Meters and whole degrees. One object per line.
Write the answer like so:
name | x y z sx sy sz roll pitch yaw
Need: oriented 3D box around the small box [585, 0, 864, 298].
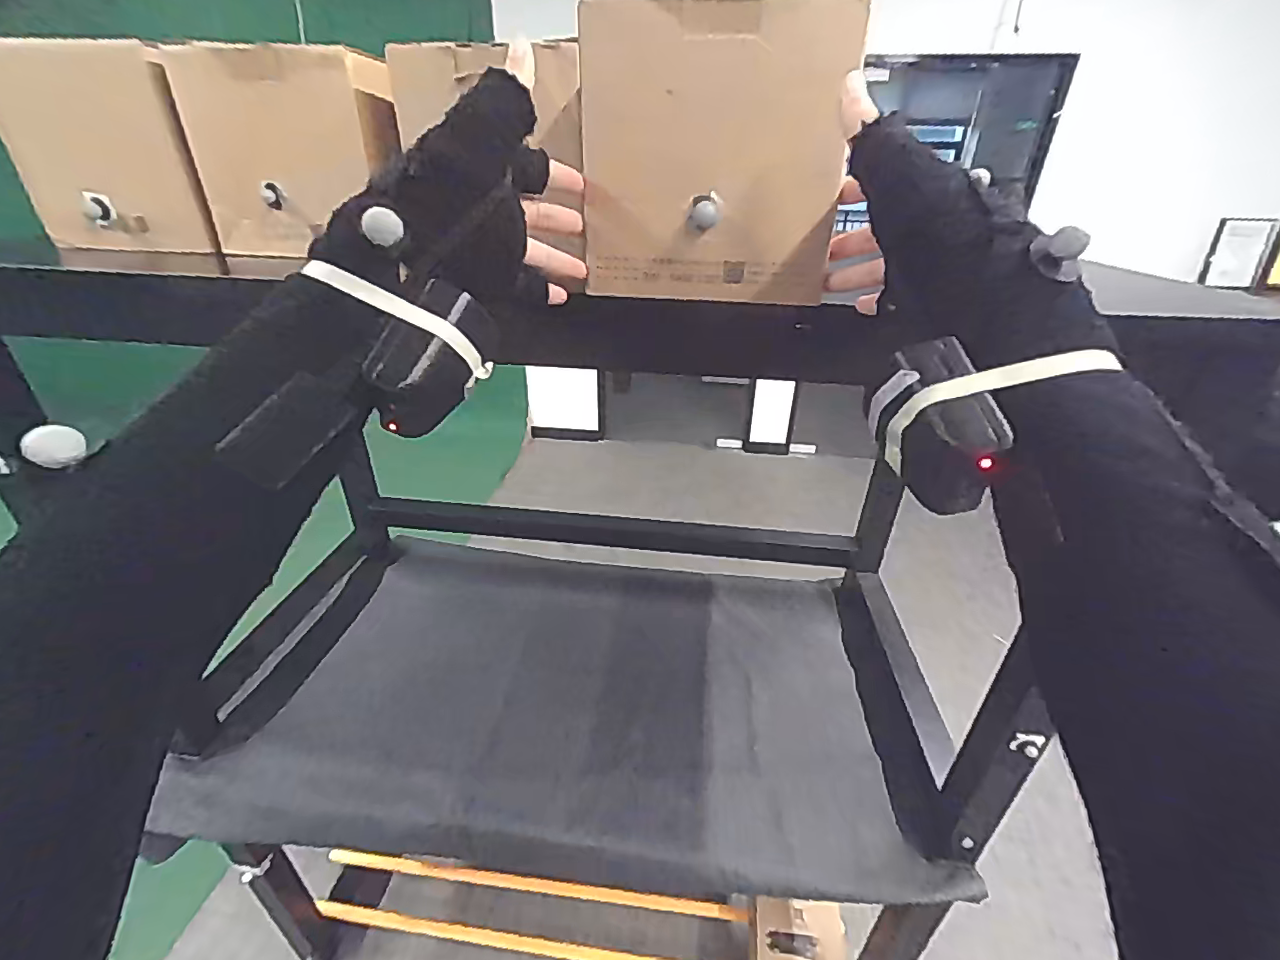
small box | 0.056 -0.246 0.420 0.168 0.176 0.179 4 28 7
